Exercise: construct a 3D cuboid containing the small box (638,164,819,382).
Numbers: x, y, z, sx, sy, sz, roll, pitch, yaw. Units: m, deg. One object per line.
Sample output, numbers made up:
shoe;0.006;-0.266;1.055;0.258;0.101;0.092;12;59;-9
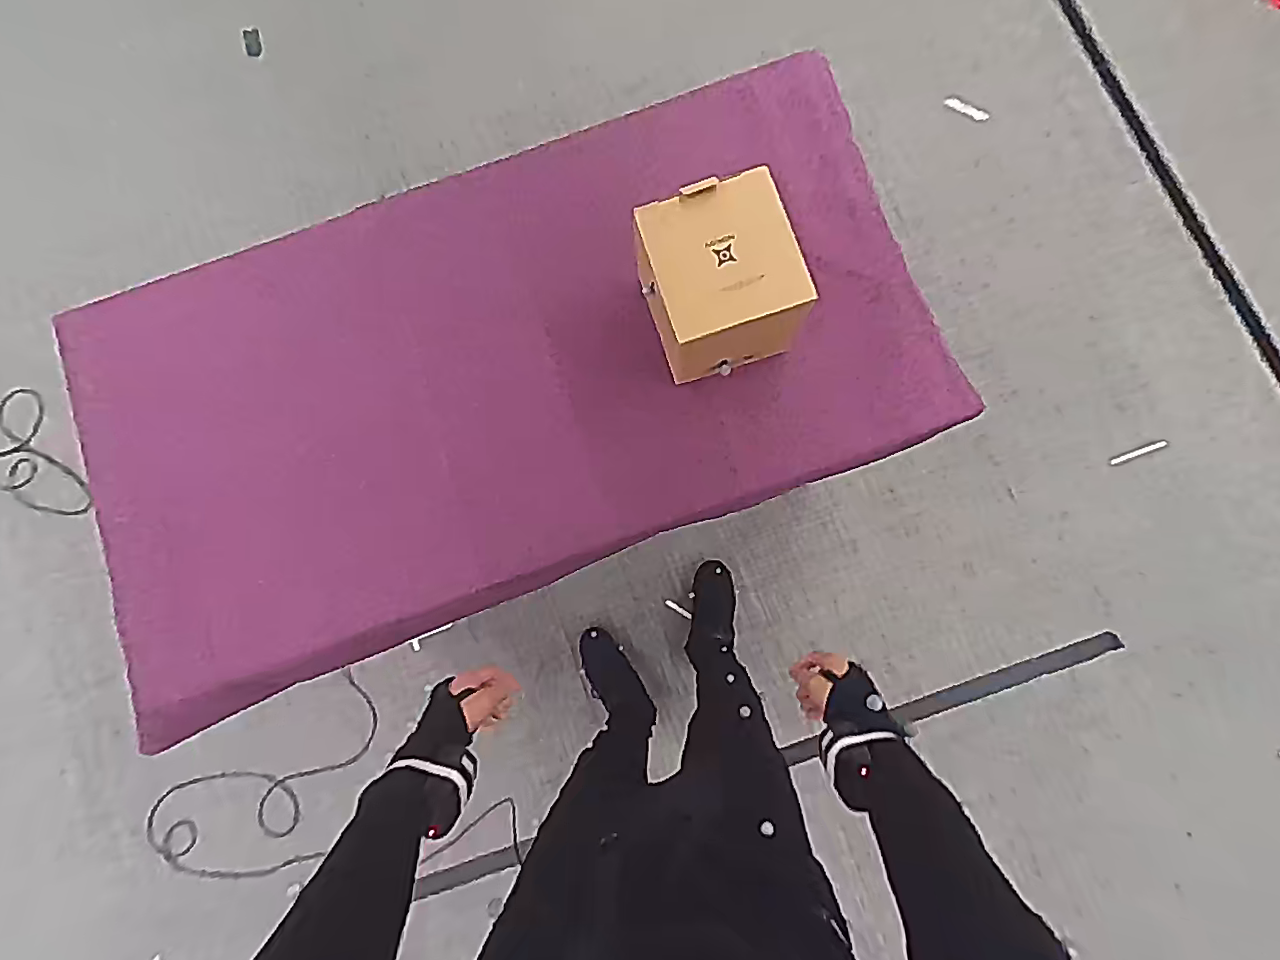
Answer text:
small box;0.100;-0.247;0.684;0.168;0.176;0.179;-17;83;1
